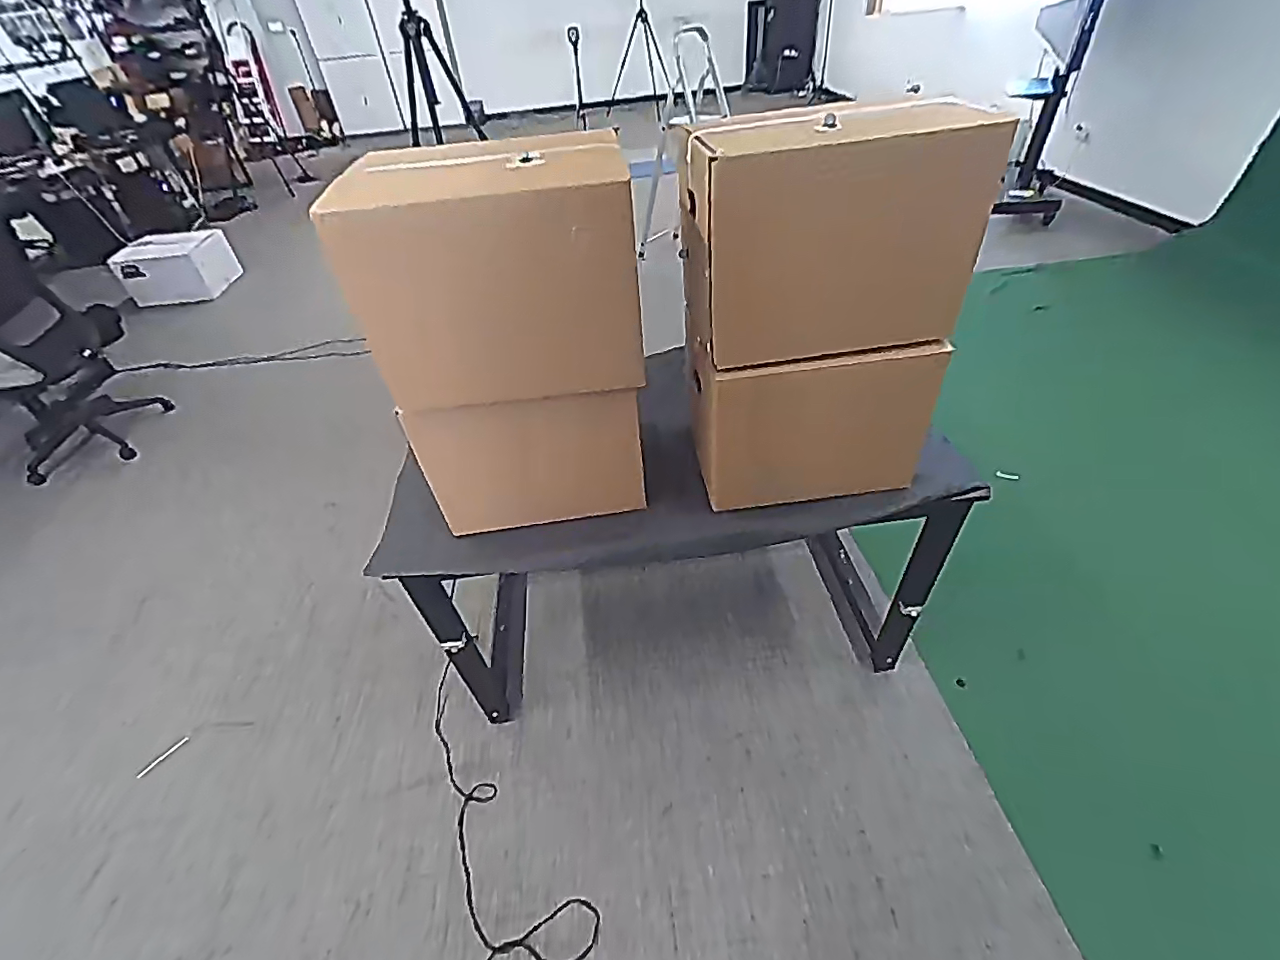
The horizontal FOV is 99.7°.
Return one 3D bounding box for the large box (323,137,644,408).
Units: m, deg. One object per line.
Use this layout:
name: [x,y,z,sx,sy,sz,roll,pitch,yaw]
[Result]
large box: [-0.212,-0.344,0.890,0.408,0.320,0.320,-6,44,-3]
